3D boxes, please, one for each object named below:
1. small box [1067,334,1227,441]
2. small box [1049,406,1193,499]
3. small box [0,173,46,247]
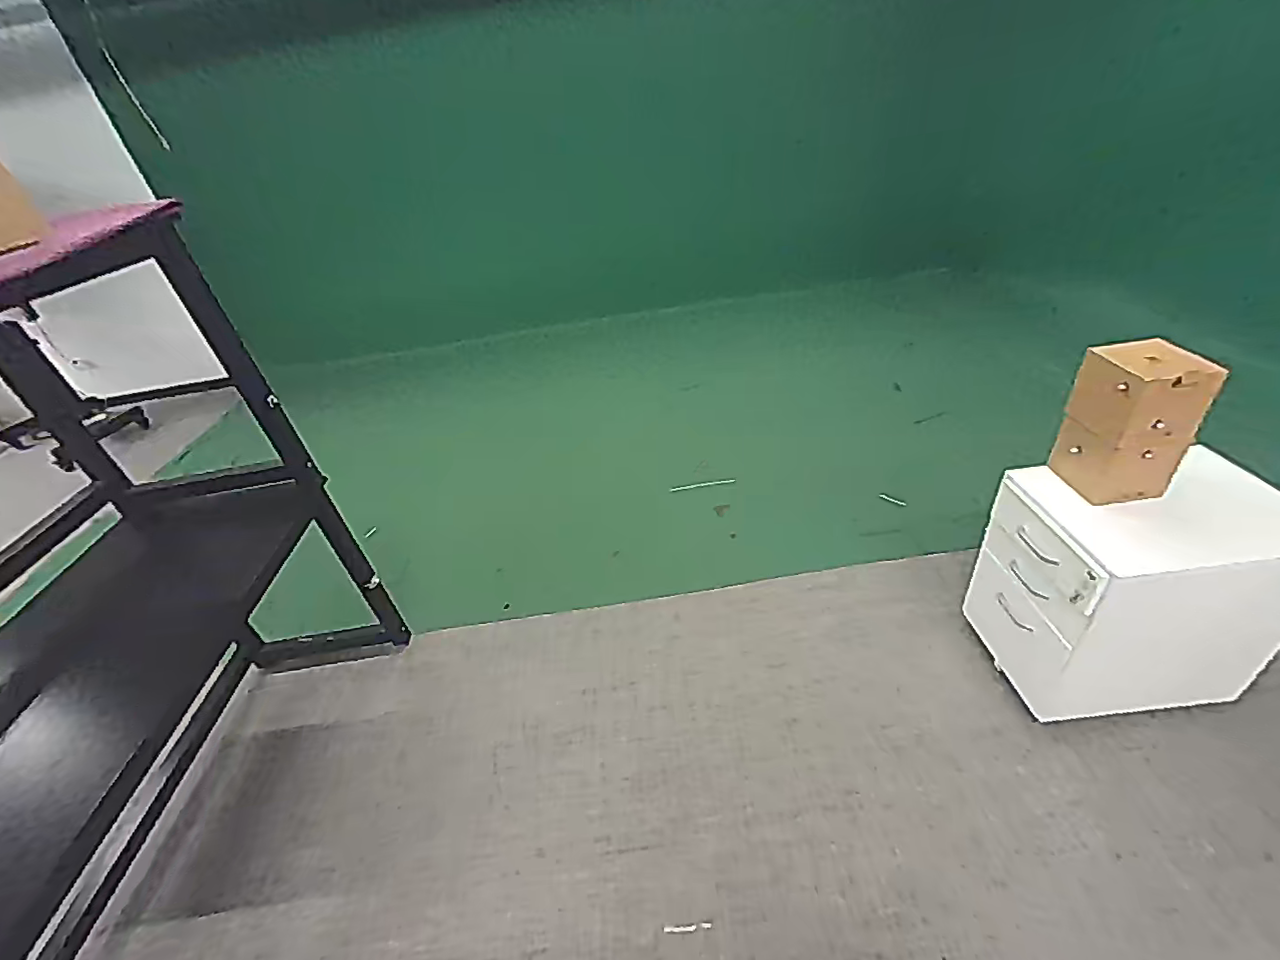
[{"bbox_3d":[1.114,-0.207,1.211,0.168,0.176,0.179,-8,38,1],"label":"small box"},{"bbox_3d":[1.142,-0.076,1.304,0.168,0.176,0.179,-8,36,2],"label":"small box"},{"bbox_3d":[-1.191,-0.466,0.906,0.168,0.176,0.179,-10,36,3],"label":"small box"}]
